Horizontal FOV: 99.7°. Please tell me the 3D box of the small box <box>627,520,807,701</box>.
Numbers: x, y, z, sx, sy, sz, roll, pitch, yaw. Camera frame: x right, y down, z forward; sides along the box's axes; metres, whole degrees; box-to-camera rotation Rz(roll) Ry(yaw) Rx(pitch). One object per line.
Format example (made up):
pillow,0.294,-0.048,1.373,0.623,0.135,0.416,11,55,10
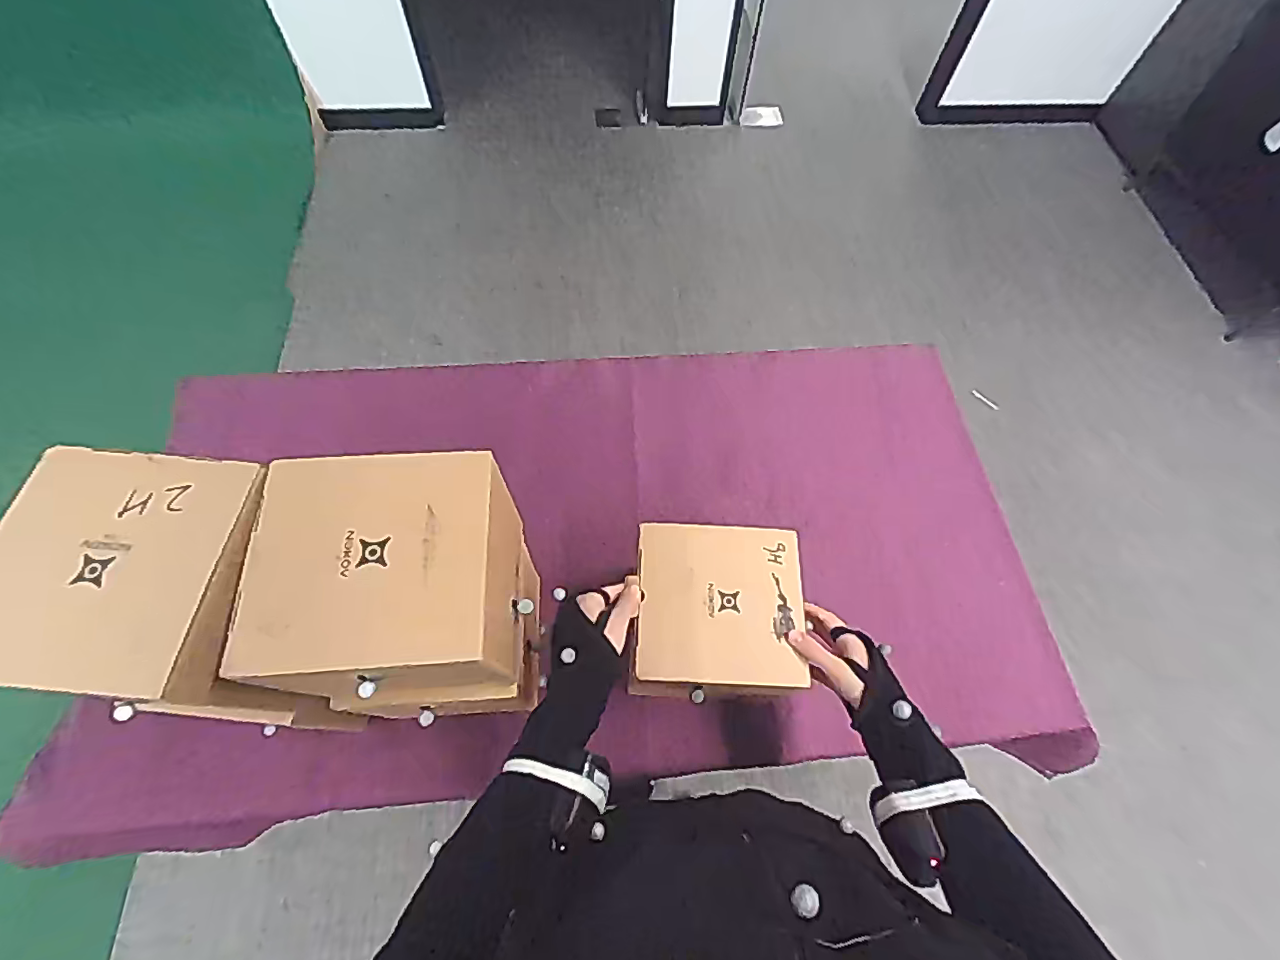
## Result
small box,0.077,0.157,0.624,0.179,0.176,0.168,4,63,0
